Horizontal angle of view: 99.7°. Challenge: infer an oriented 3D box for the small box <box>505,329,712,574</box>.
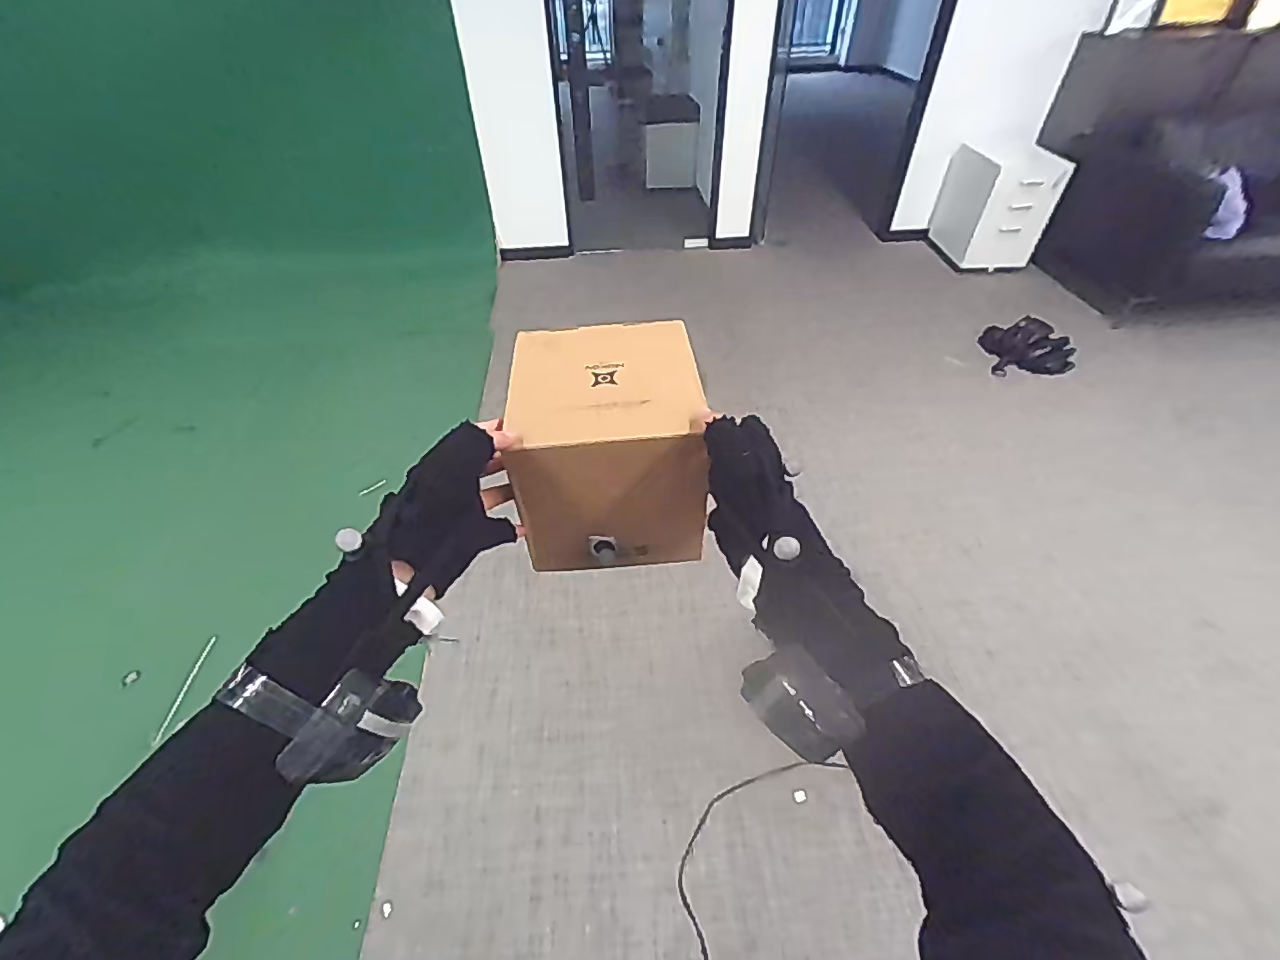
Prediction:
[{"bbox_3d":[-0.028,-0.029,0.537,0.168,0.176,0.179,-5,45,-2],"label":"small box"}]
